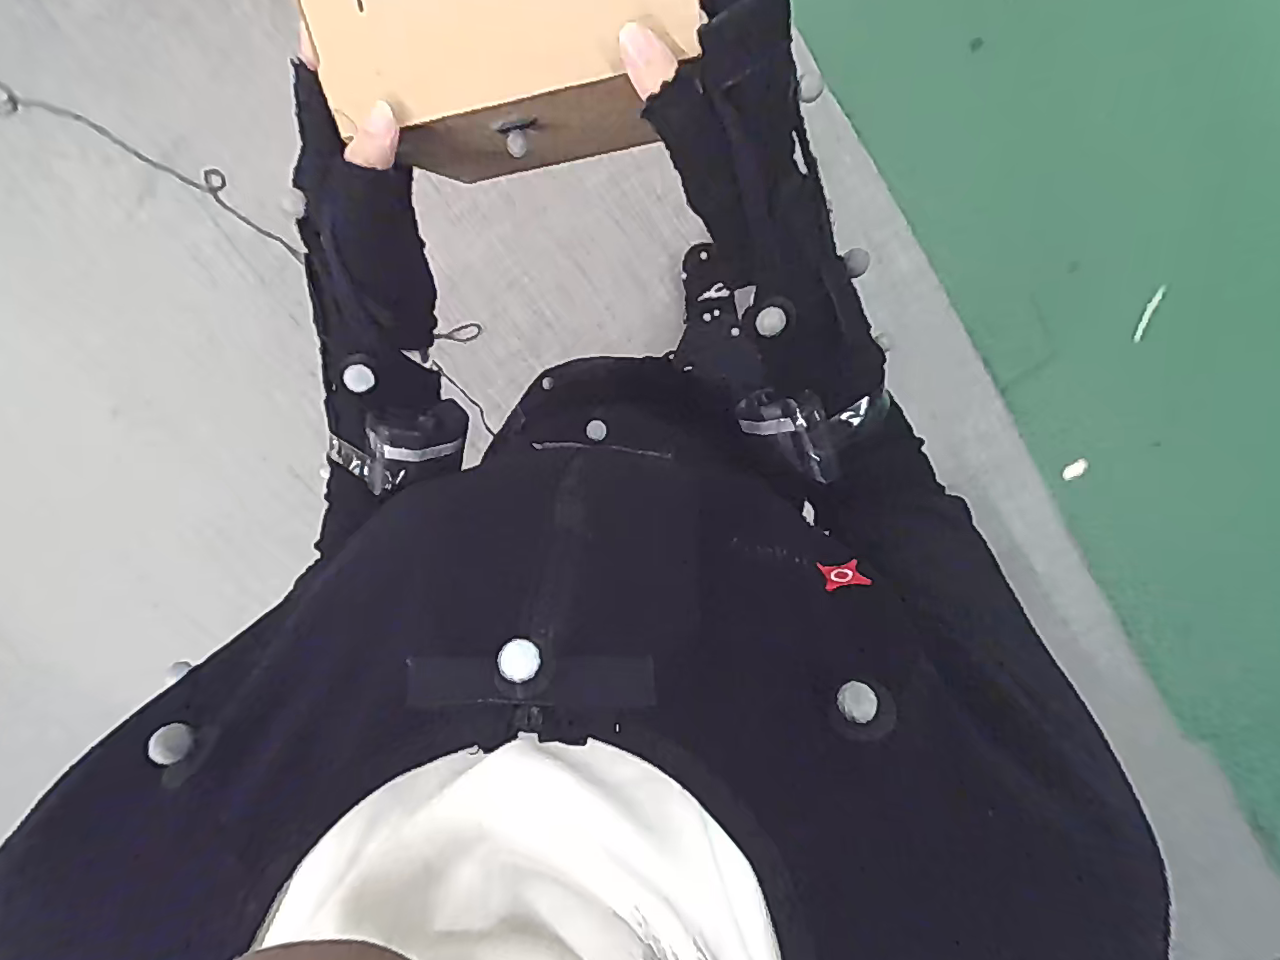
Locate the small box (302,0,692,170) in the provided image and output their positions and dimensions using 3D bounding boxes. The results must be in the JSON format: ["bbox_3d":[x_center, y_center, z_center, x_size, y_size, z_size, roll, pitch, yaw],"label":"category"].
[{"bbox_3d":[-0.069,-0.288,0.295,0.179,0.176,0.168,-9,111,7],"label":"small box"}]
